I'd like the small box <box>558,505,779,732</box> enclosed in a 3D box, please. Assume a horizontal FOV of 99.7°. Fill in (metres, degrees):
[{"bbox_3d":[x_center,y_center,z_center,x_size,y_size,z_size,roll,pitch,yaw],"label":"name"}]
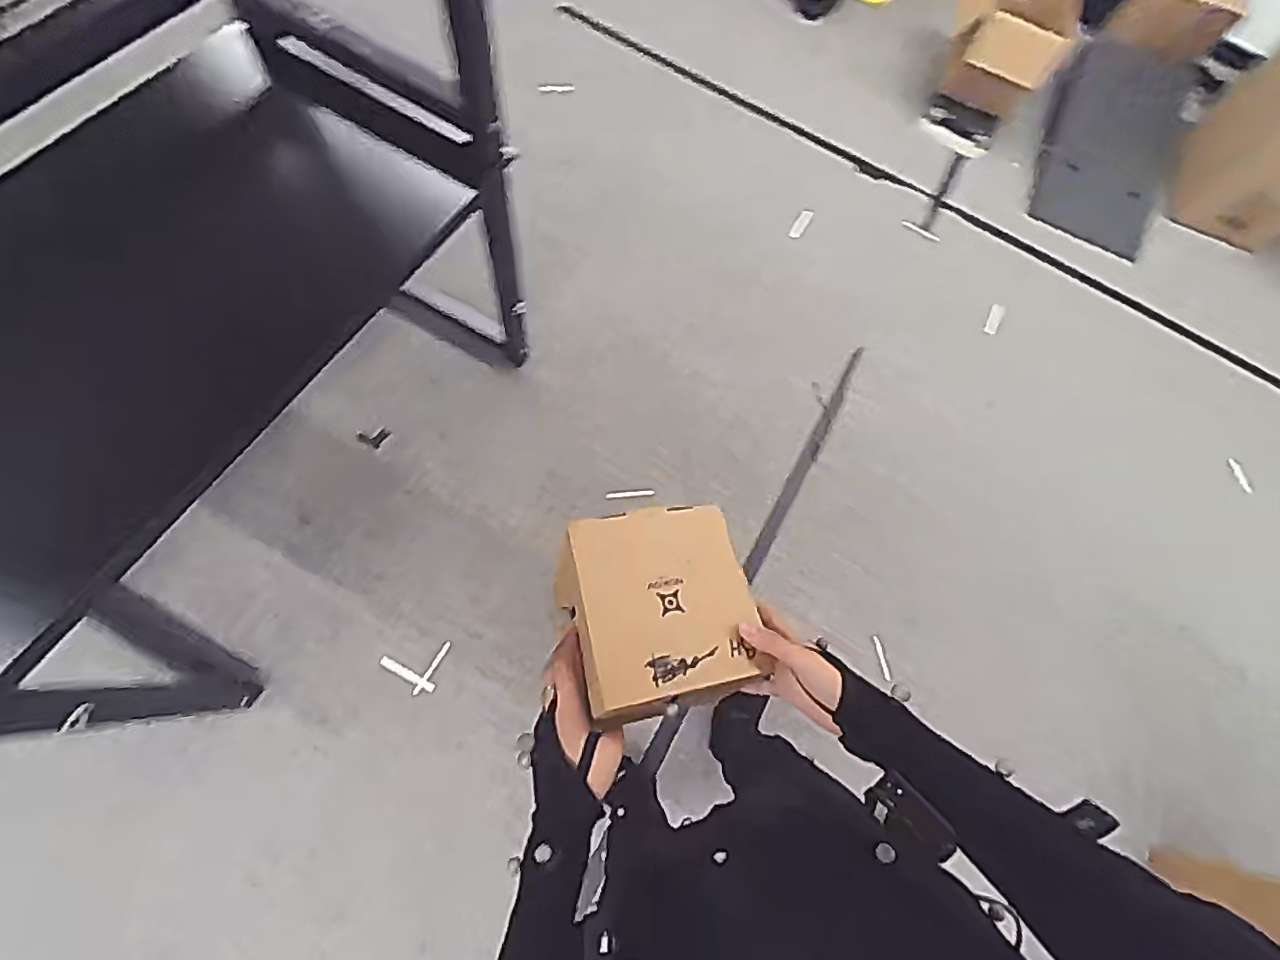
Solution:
[{"bbox_3d":[0.012,0.147,0.570,0.168,0.176,0.179,-5,60,-18],"label":"small box"}]
